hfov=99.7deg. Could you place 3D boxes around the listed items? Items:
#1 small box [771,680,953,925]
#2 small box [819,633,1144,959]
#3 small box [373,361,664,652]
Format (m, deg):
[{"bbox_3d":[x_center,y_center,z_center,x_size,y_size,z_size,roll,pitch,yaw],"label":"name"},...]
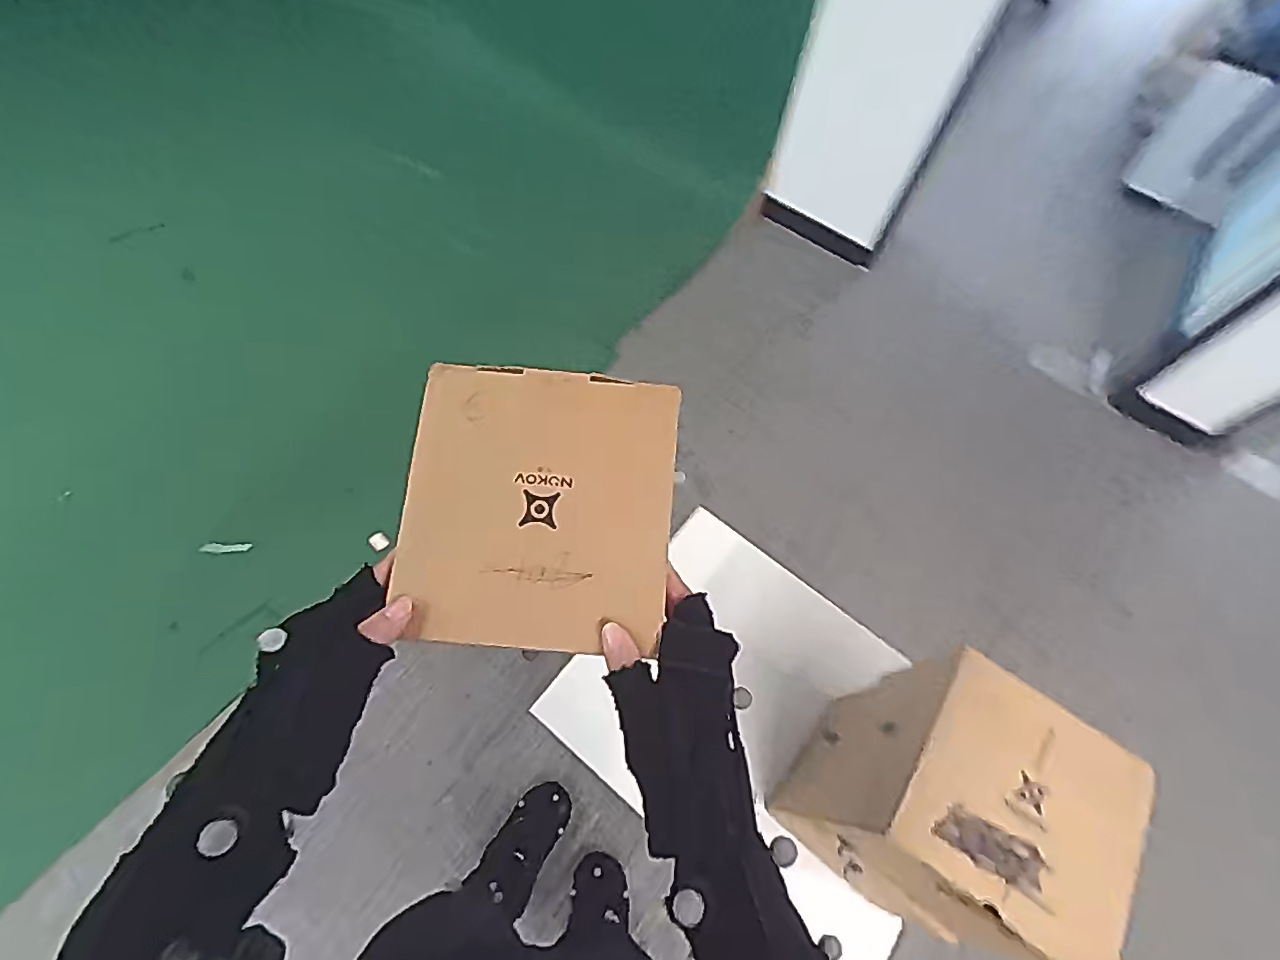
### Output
[{"bbox_3d":[0.279,0.357,0.638,0.168,0.176,0.179,37,67,15],"label":"small box"},{"bbox_3d":[0.289,0.275,0.496,0.168,0.176,0.179,35,66,13],"label":"small box"},{"bbox_3d":[-0.074,0.028,0.411,0.168,0.176,0.179,3,79,-2],"label":"small box"}]
